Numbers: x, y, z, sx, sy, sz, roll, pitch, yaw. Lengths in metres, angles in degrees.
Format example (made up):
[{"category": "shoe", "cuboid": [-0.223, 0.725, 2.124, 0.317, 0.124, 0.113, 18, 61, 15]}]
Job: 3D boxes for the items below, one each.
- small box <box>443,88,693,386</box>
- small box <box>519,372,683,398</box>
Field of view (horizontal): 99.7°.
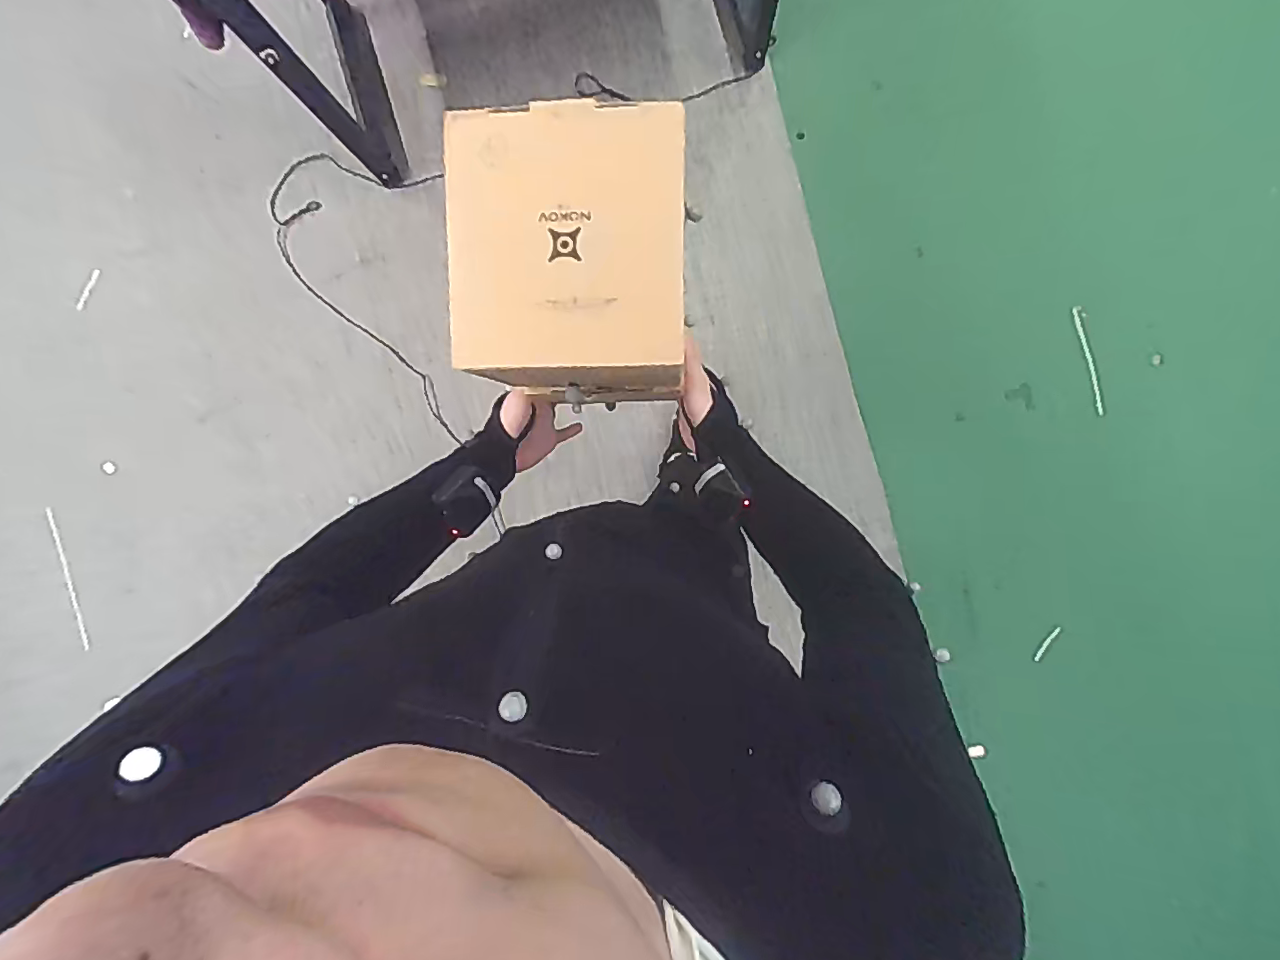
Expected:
[{"category": "small box", "cuboid": [-0.045, -0.172, 0.436, 0.168, 0.176, 0.179, 0, 95, 3]}, {"category": "small box", "cuboid": [-0.035, -0.182, 0.598, 0.168, 0.176, 0.179, -1, 94, 3]}]
